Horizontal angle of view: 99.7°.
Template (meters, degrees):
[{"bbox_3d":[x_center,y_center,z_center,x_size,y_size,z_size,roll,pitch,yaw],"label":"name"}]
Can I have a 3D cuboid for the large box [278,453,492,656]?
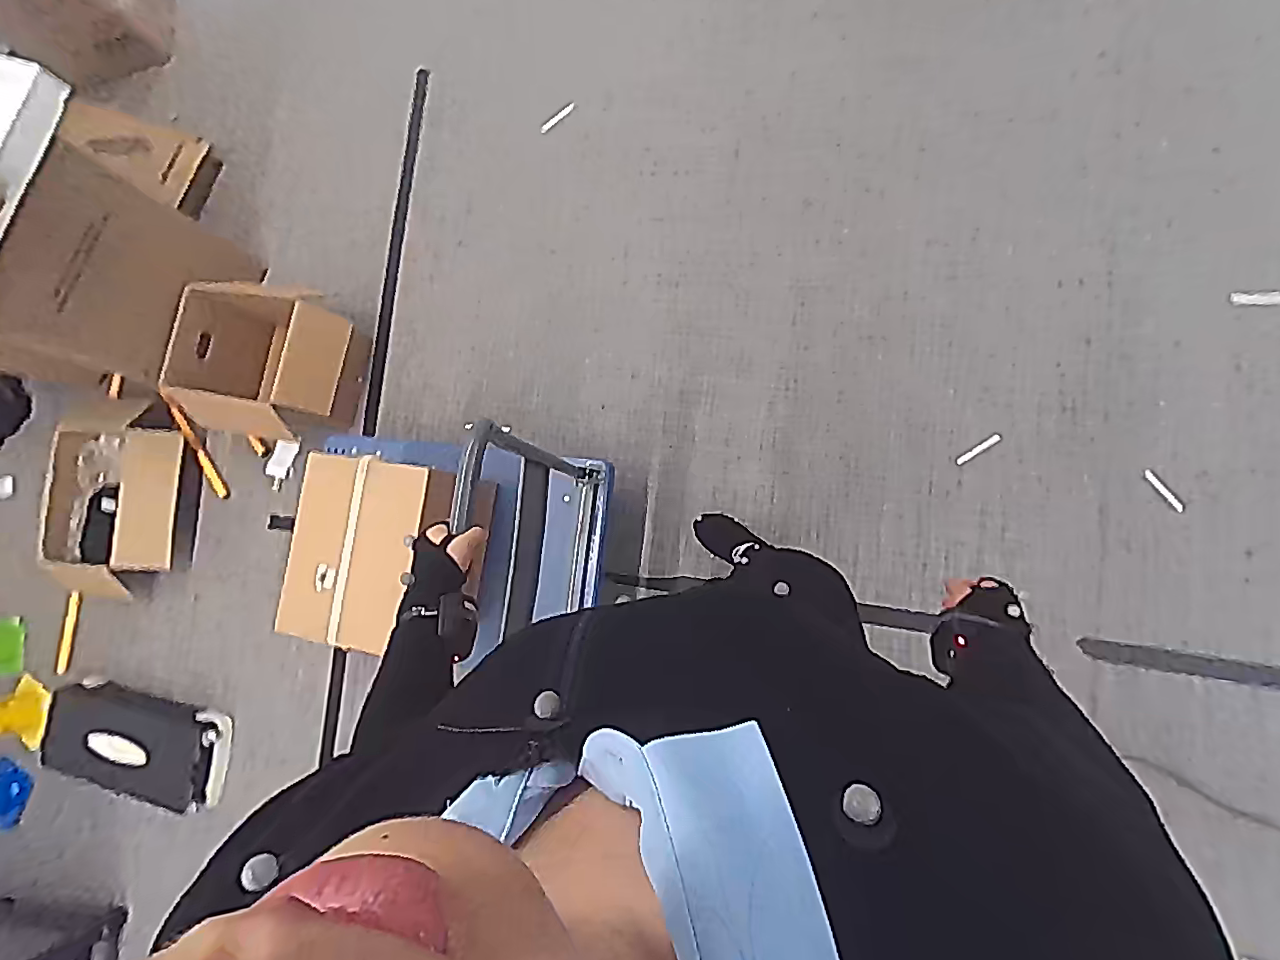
[{"bbox_3d":[-0.586,0.161,1.298,0.320,0.320,0.408,7,87,14],"label":"large box"}]
